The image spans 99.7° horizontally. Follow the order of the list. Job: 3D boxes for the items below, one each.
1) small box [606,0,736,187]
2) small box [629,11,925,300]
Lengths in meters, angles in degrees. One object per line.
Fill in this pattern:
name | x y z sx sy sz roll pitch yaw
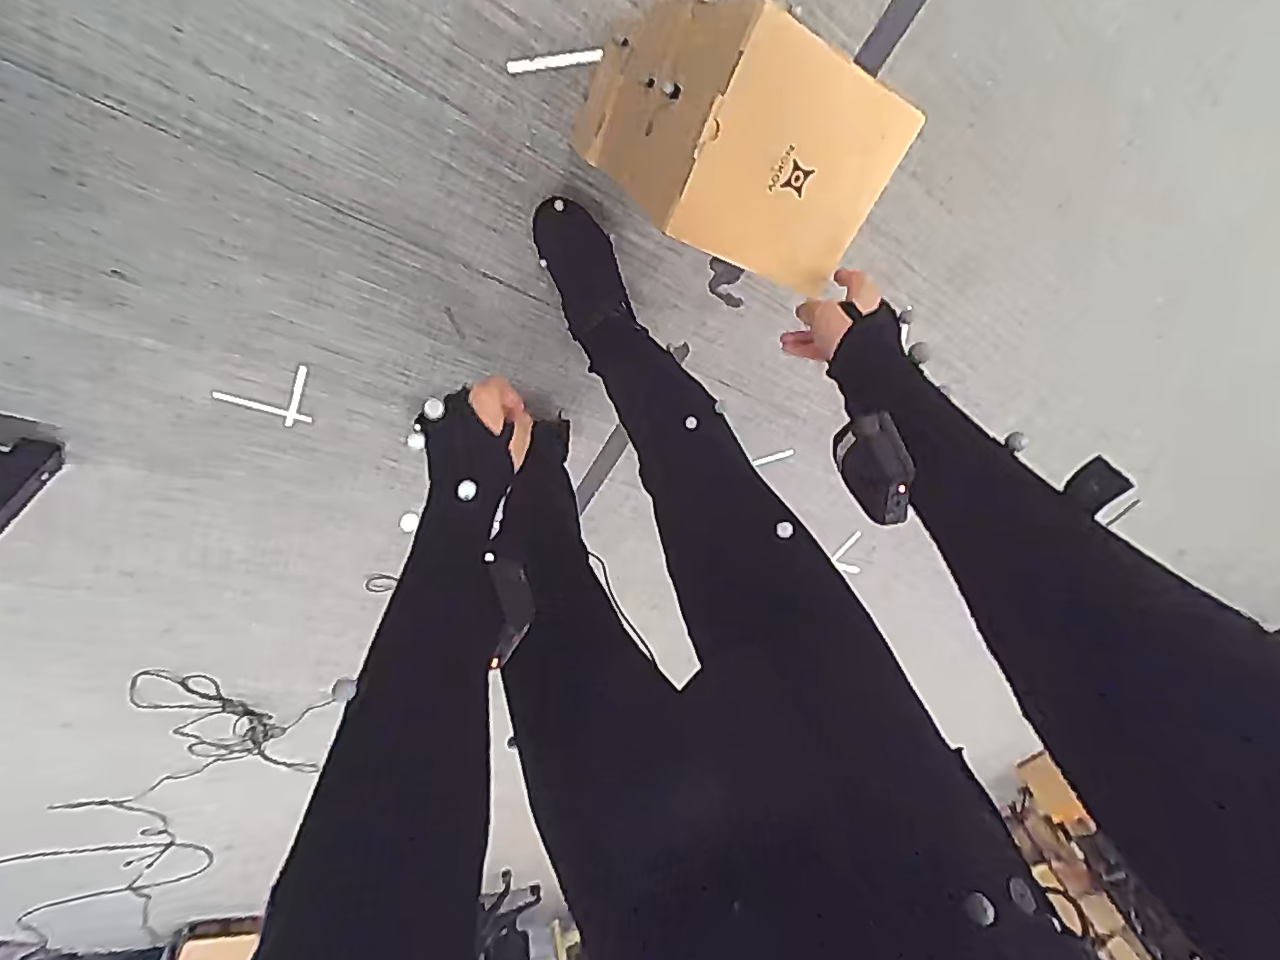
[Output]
small box | 0.073 -0.409 0.626 0.168 0.176 0.179 13 125 -26
small box | 0.111 -0.302 0.509 0.179 0.176 0.168 12 125 -25
